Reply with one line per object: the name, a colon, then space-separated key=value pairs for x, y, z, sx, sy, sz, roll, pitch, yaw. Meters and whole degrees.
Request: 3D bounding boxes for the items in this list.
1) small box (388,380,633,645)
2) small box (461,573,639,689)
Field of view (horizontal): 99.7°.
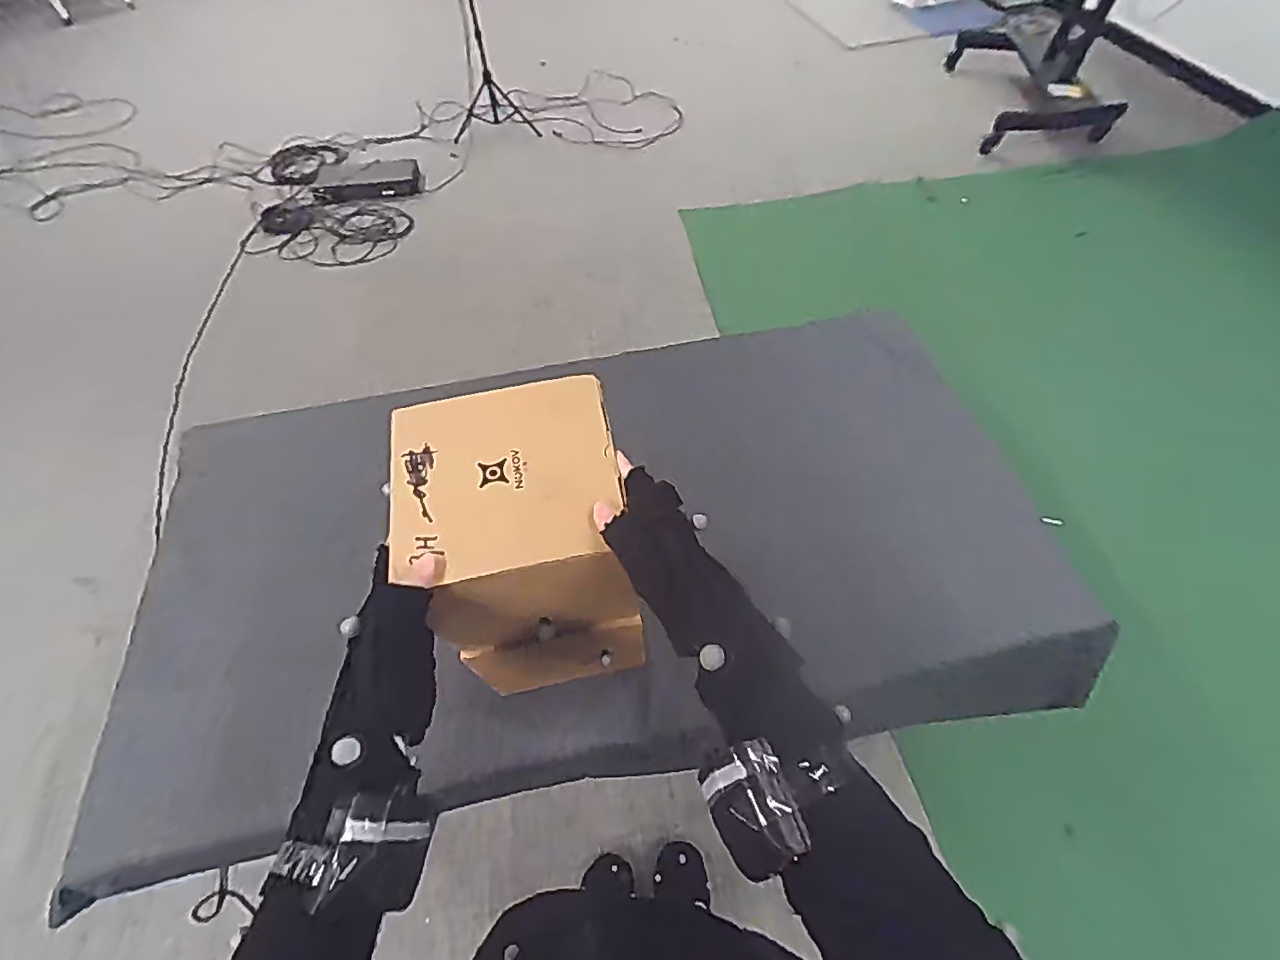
small box: x=-0.106 y=0.036 z=0.490 sx=0.179 sy=0.176 sz=0.168 roll=-10 pitch=60 yaw=-6
small box: x=-0.100 y=0.128 z=0.631 sx=0.179 sy=0.176 sz=0.168 roll=-12 pitch=57 yaw=-5
